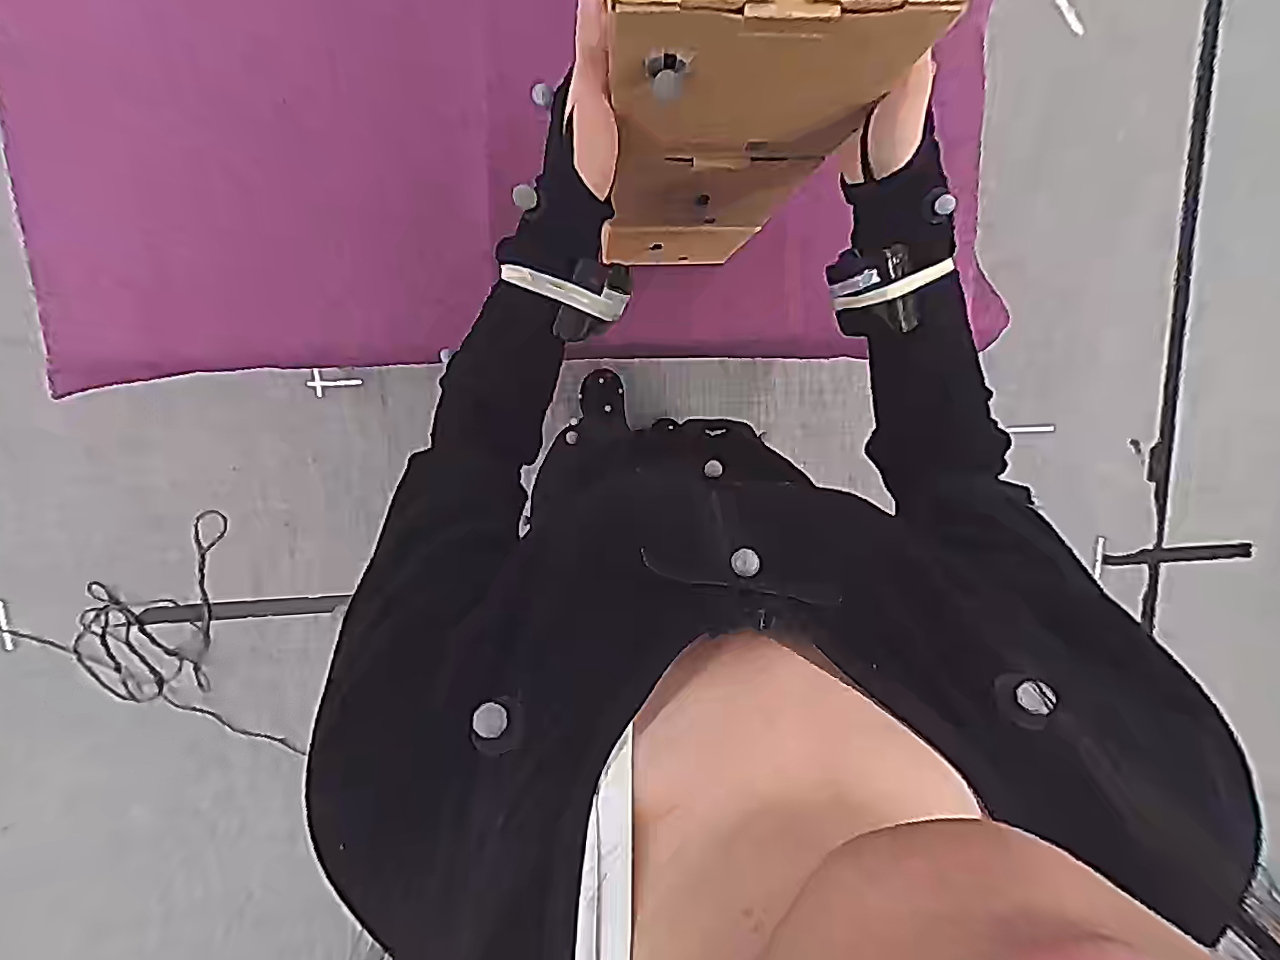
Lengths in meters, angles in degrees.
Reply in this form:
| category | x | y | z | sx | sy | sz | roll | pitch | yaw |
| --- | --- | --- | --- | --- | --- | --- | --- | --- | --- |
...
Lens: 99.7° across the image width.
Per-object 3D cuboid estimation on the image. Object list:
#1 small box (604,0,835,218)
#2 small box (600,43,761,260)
| category | x | y | z | sx | sy | sz | roll | pitch | yaw |
| --- | --- | --- | --- | --- | --- | --- | --- | --- | --- |
| small box | 0.054 | -0.341 | 0.470 | 0.168 | 0.176 | 0.179 | -2 | 100 | -5 |
| small box | 0.040 | -0.363 | 0.632 | 0.168 | 0.176 | 0.179 | -3 | 99 | -5 |
